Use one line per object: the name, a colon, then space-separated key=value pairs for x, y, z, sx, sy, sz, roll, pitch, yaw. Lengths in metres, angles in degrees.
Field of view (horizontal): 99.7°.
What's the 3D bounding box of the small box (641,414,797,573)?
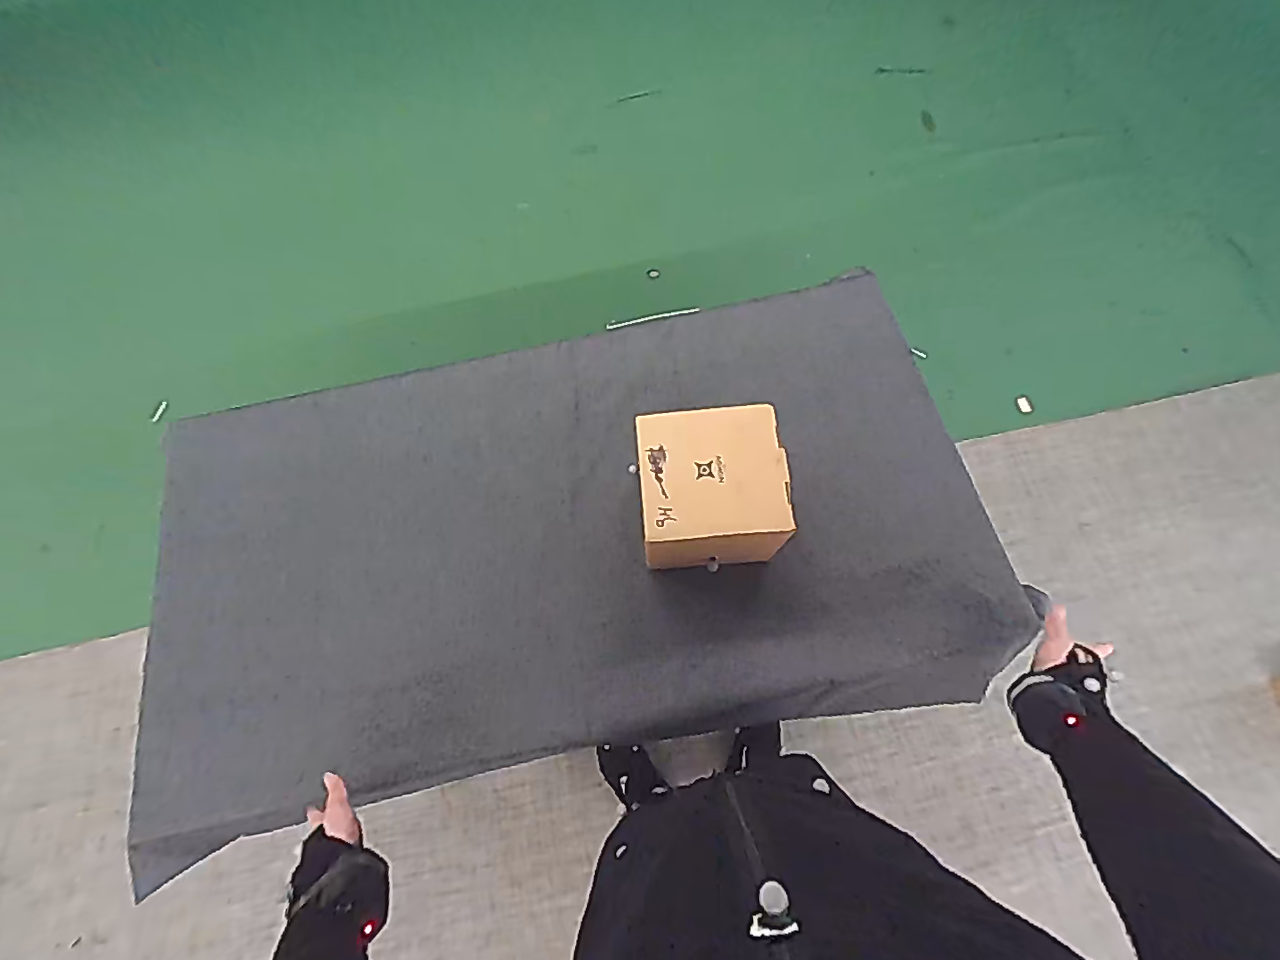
small box: x=0.093 y=0.026 z=0.727 sx=0.179 sy=0.176 sz=0.168 roll=-4 pitch=69 yaw=1
